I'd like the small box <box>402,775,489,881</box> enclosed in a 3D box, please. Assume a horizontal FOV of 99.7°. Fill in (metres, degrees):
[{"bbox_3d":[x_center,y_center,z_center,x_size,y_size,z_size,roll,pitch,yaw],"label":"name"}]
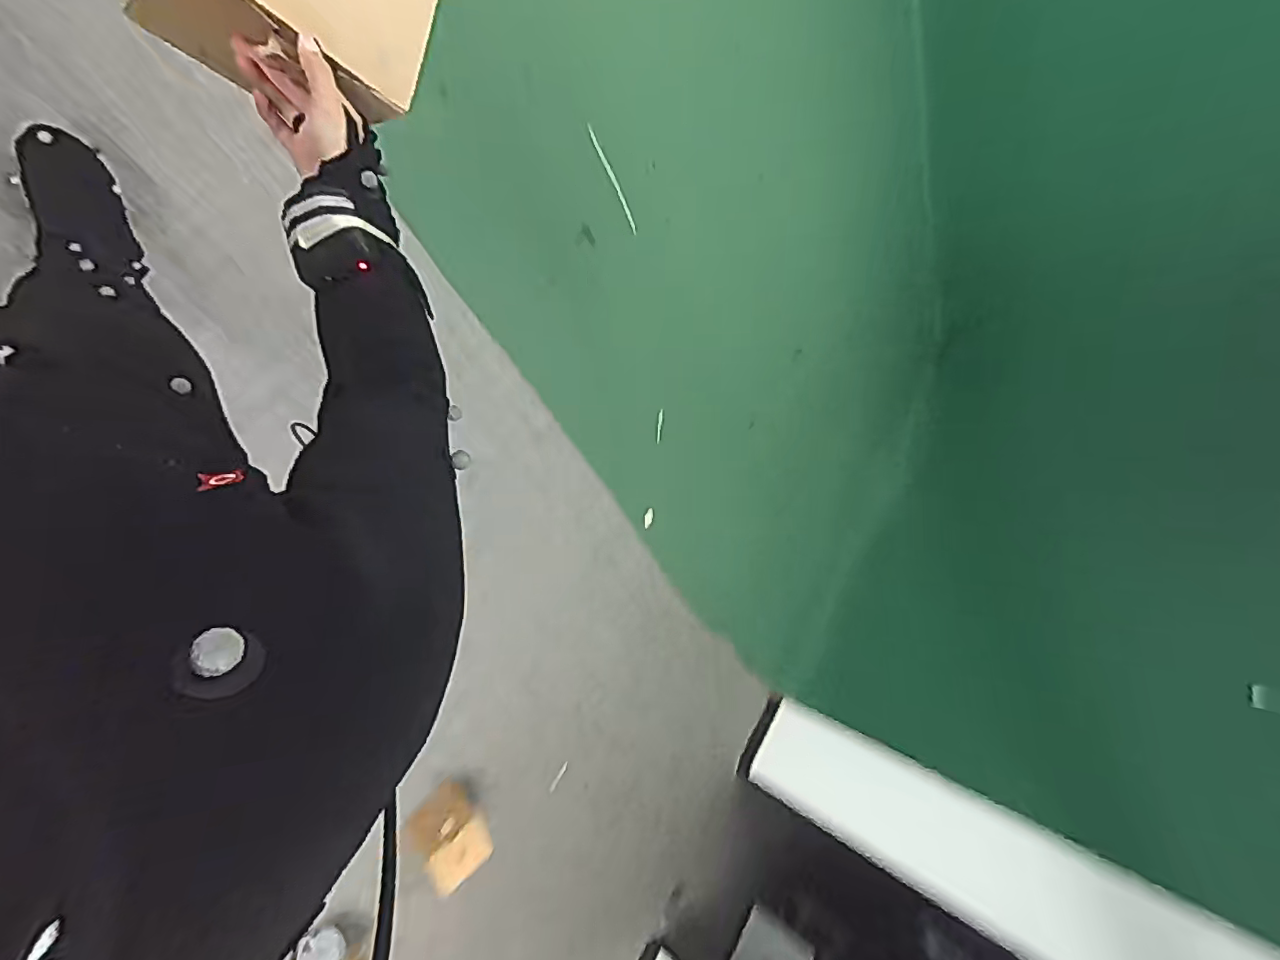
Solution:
[{"bbox_3d":[-0.591,1.047,1.642,0.168,0.176,0.179,-31,123,-37],"label":"small box"}]
